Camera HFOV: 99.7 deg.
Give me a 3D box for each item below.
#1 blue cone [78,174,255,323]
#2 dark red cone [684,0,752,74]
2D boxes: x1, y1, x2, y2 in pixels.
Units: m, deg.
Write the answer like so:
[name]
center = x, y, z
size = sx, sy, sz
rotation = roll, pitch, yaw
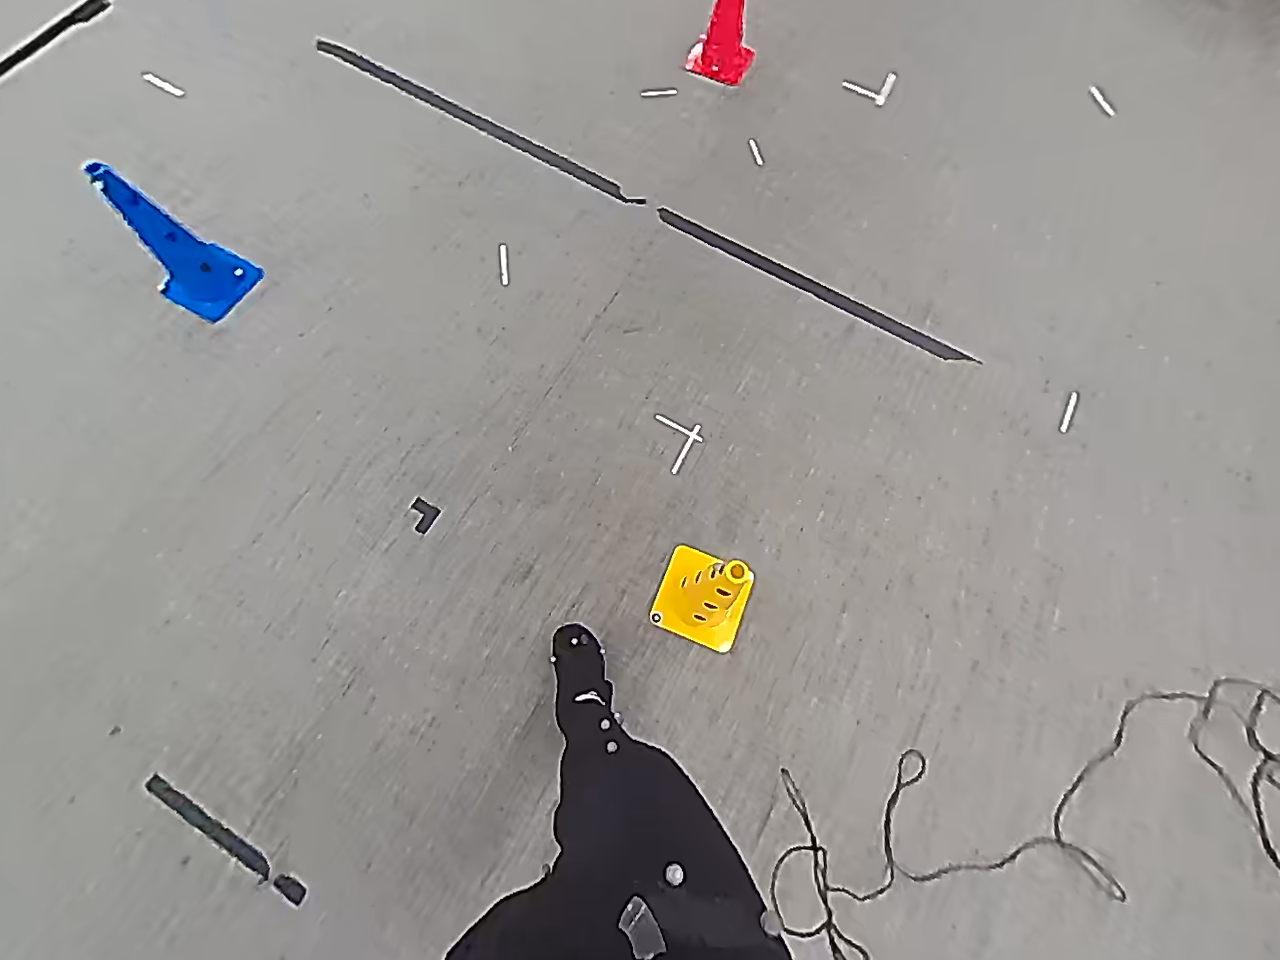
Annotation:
[blue cone]
center = -1.156, -0.577, 1.306
size = 0.193, 0.380, 0.192
rotation = 29, 73, 7
[dark red cone]
center = 0.278, -1.523, 1.688
size = 0.202, 0.394, 0.201
rotation = 21, 72, 4
